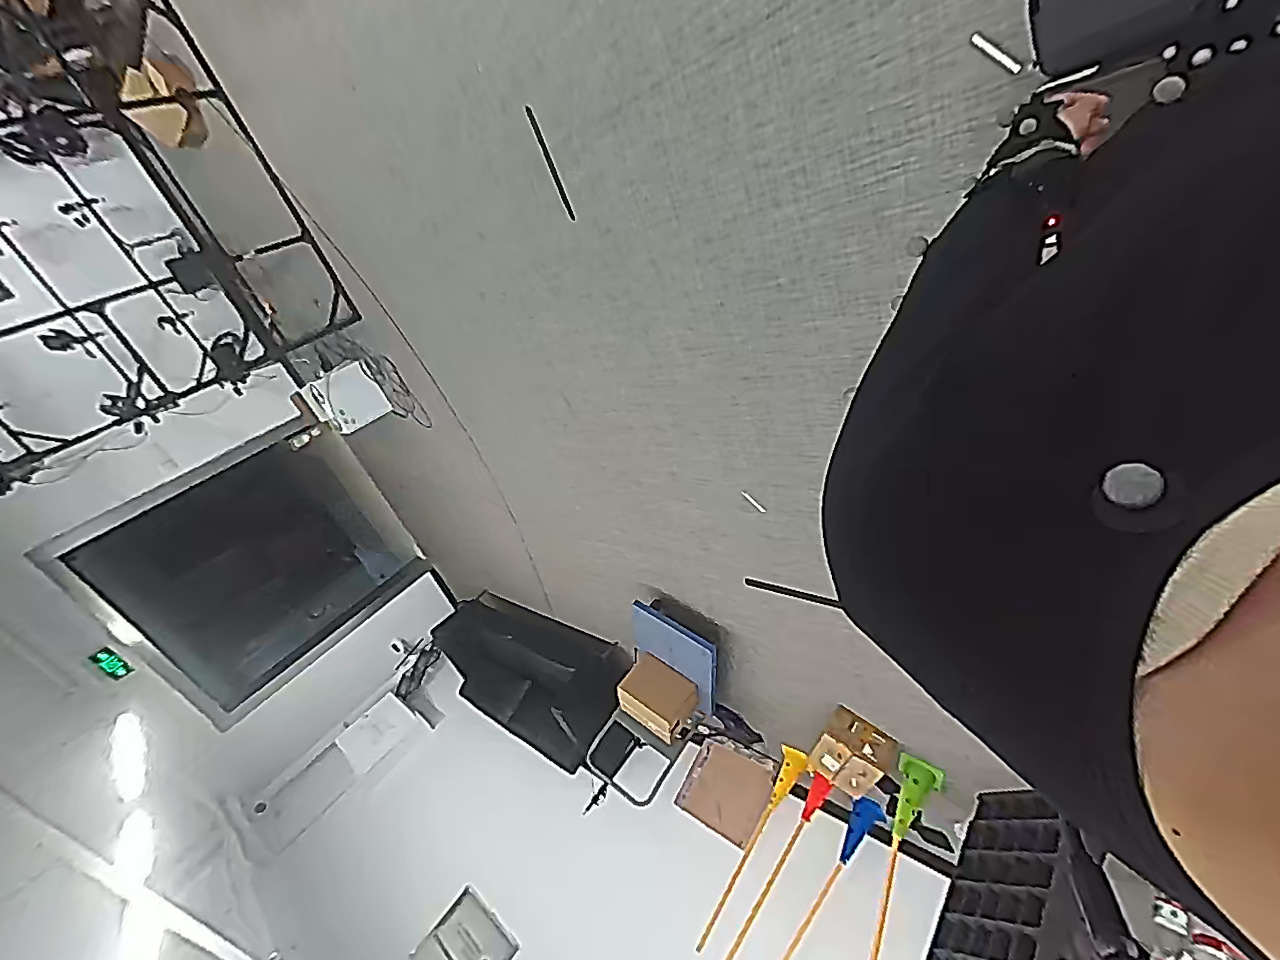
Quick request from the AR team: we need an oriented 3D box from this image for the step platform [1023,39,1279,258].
[{"bbox_3d":[1.039,-0.559,0.875,0.684,0.204,0.286,12,131,43],"label":"step platform"}]
